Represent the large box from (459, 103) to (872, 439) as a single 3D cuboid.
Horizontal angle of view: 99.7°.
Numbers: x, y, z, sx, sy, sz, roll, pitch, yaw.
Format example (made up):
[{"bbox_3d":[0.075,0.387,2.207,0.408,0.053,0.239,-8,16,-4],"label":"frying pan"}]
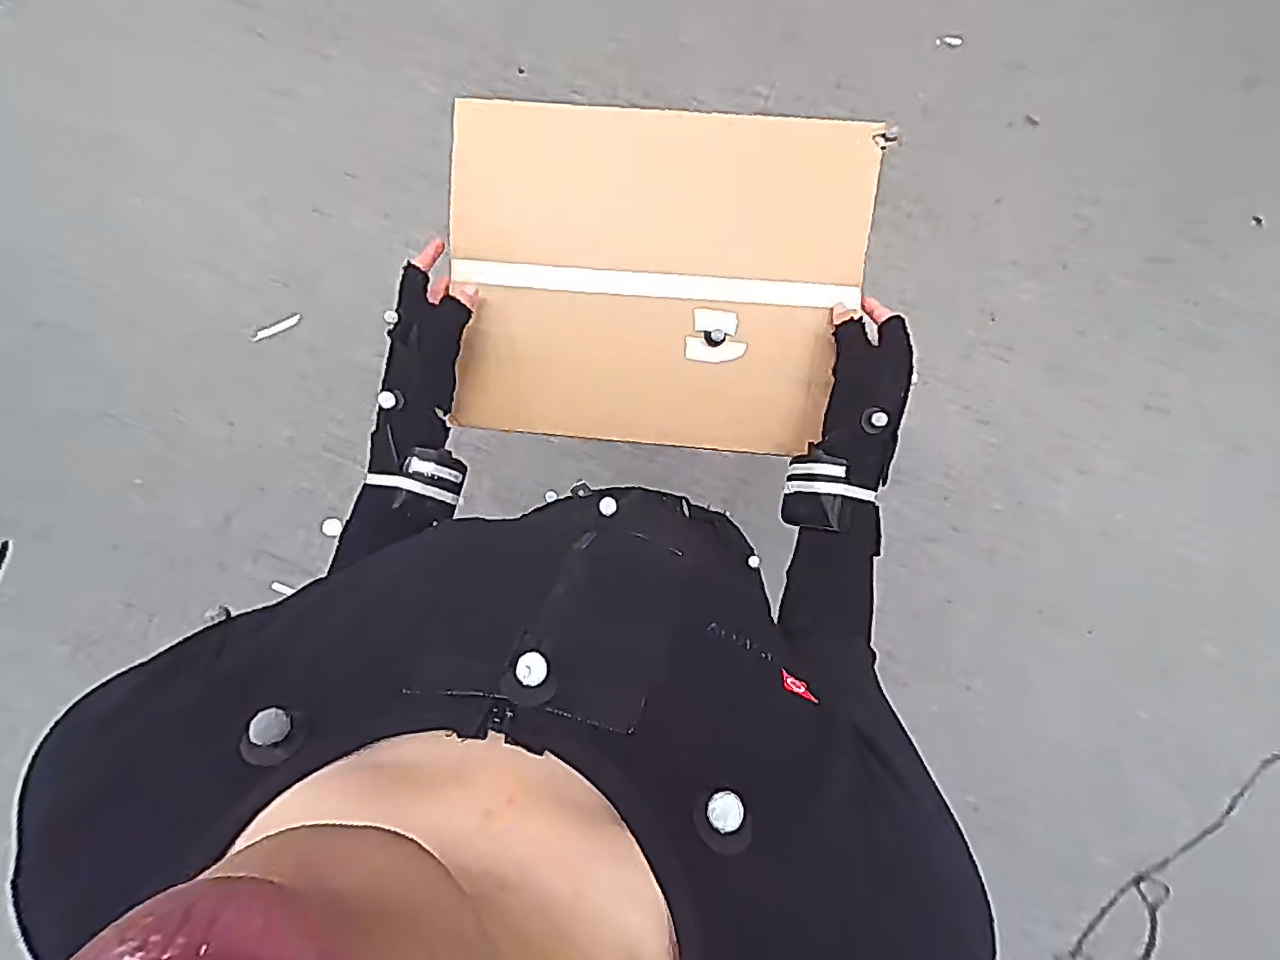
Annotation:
[{"bbox_3d":[0.020,-0.228,0.687,0.408,0.320,0.320,4,101,3],"label":"large box"}]
